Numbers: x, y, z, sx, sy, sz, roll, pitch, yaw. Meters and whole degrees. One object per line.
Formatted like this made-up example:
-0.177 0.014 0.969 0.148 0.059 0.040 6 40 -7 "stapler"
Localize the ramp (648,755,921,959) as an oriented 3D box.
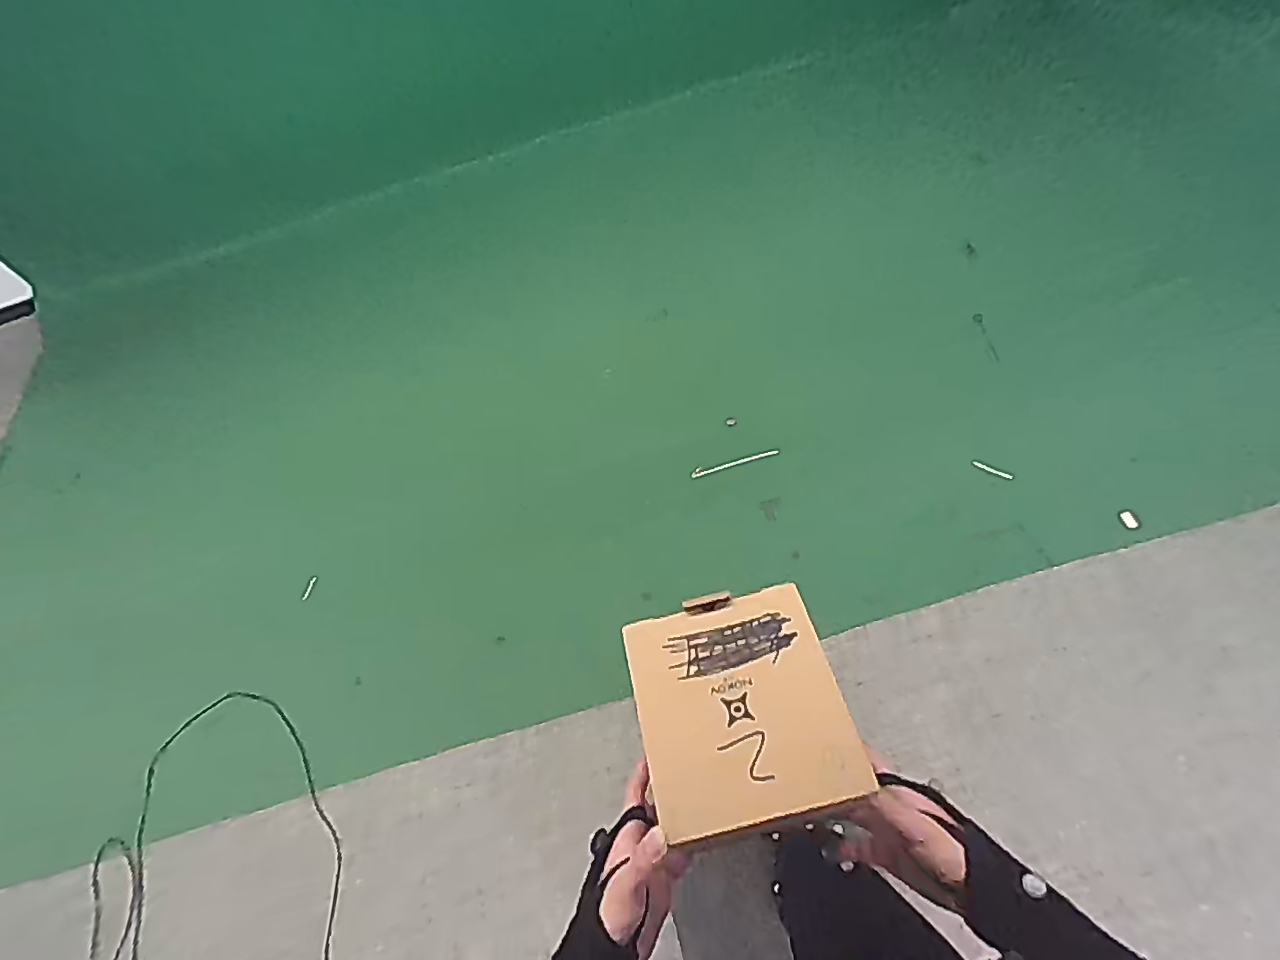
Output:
0.391 1.167 1.116 0.509 0.206 0.991 -19 60 -1 "ramp"
